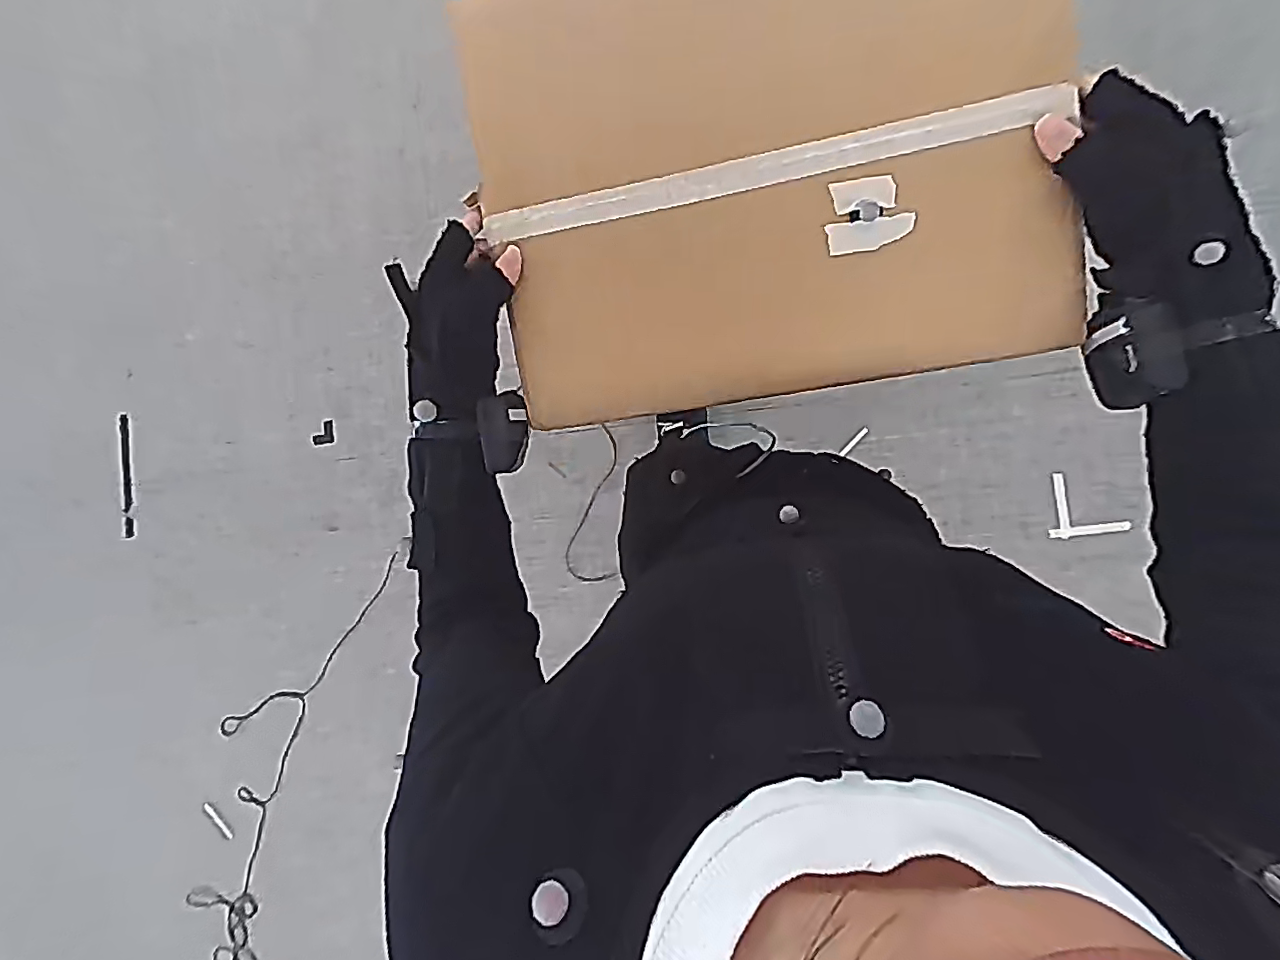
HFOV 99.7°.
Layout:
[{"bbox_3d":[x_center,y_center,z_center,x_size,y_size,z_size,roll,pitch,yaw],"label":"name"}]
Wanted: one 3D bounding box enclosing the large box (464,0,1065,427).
[{"bbox_3d":[0.102,-0.247,0.542,0.408,0.320,0.320,-9,99,8],"label":"large box"}]
